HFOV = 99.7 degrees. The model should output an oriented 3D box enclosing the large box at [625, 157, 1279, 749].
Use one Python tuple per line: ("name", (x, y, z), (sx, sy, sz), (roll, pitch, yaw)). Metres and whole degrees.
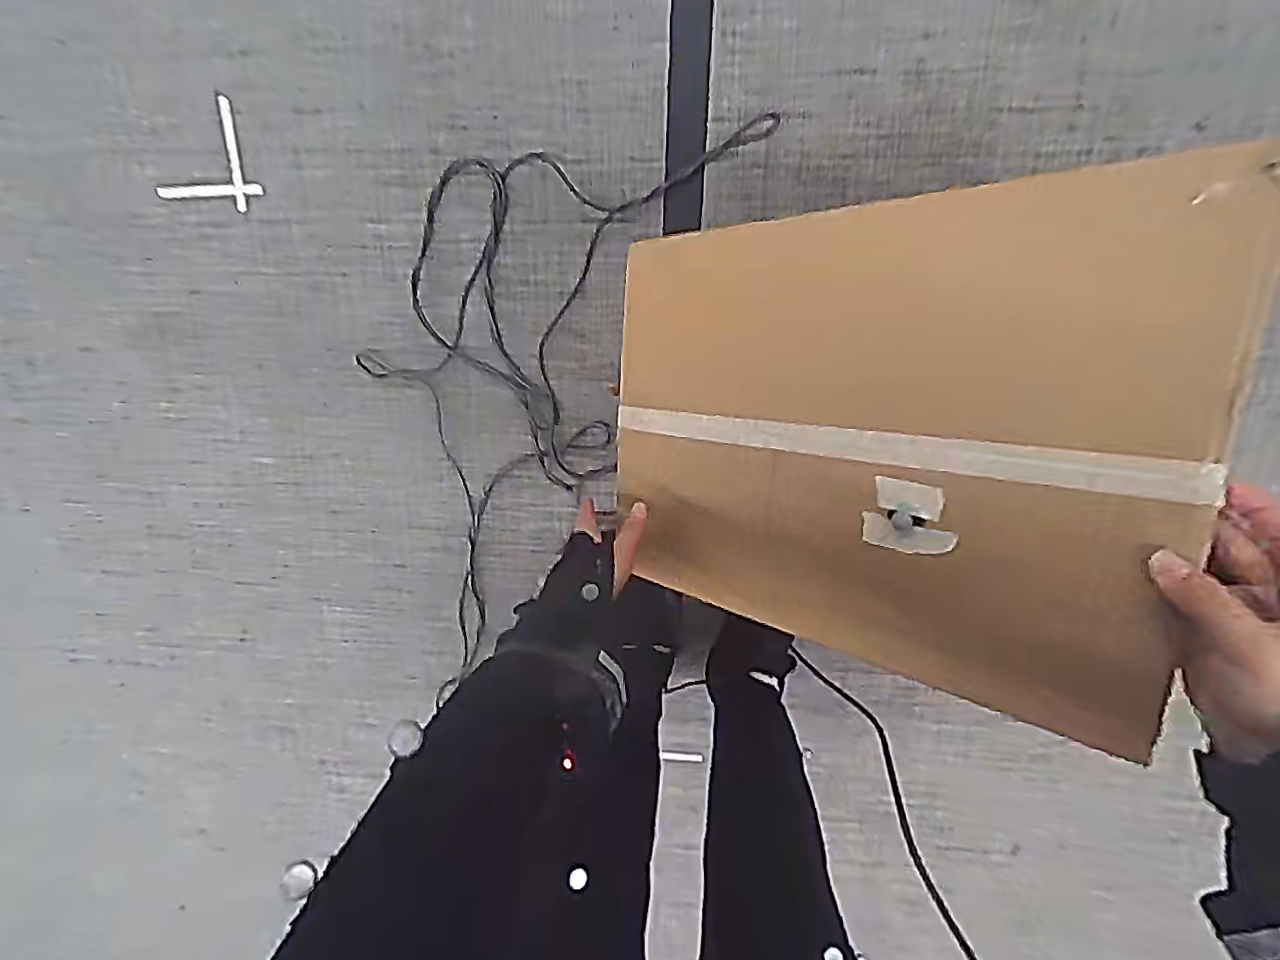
("large box", (0.237, -0.041, 0.509), (0.408, 0.320, 0.320), (11, 104, 39))
